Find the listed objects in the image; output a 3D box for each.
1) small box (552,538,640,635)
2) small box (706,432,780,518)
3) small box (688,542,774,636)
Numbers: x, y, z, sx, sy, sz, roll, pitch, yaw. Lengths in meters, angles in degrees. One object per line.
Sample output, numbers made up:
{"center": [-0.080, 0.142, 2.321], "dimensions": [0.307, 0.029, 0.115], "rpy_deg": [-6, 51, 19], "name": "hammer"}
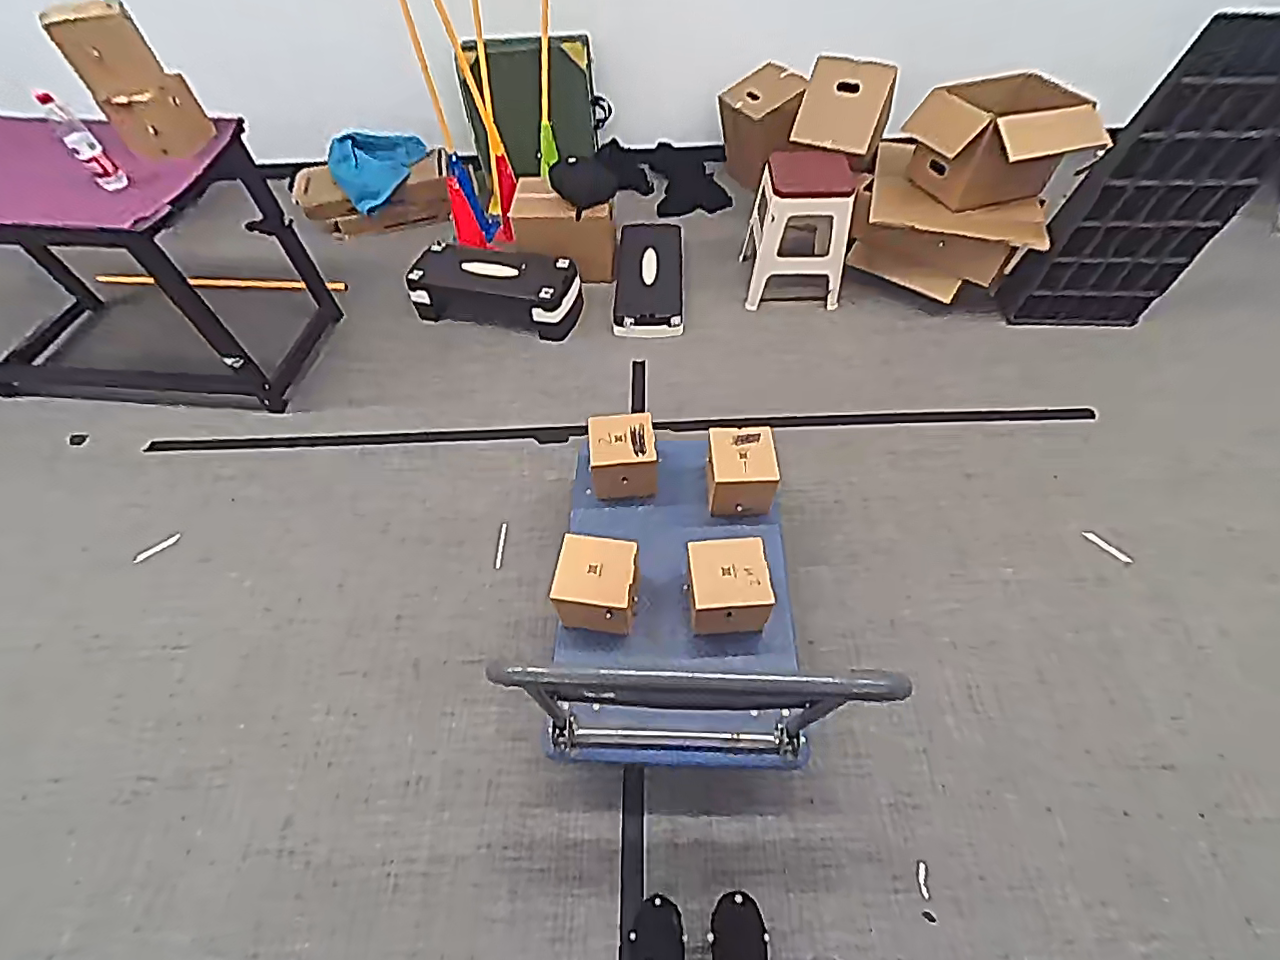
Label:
{"center": [-0.098, 0.258, 1.295], "dimensions": [0.179, 0.176, 0.168], "rpy_deg": [7, 55, 5], "name": "small box"}
{"center": [0.272, -0.013, 1.472], "dimensions": [0.168, 0.176, 0.179], "rpy_deg": [-2, 56, 1], "name": "small box"}
{"center": [0.206, 0.262, 1.282], "dimensions": [0.179, 0.176, 0.168], "rpy_deg": [-4, 55, -1], "name": "small box"}
